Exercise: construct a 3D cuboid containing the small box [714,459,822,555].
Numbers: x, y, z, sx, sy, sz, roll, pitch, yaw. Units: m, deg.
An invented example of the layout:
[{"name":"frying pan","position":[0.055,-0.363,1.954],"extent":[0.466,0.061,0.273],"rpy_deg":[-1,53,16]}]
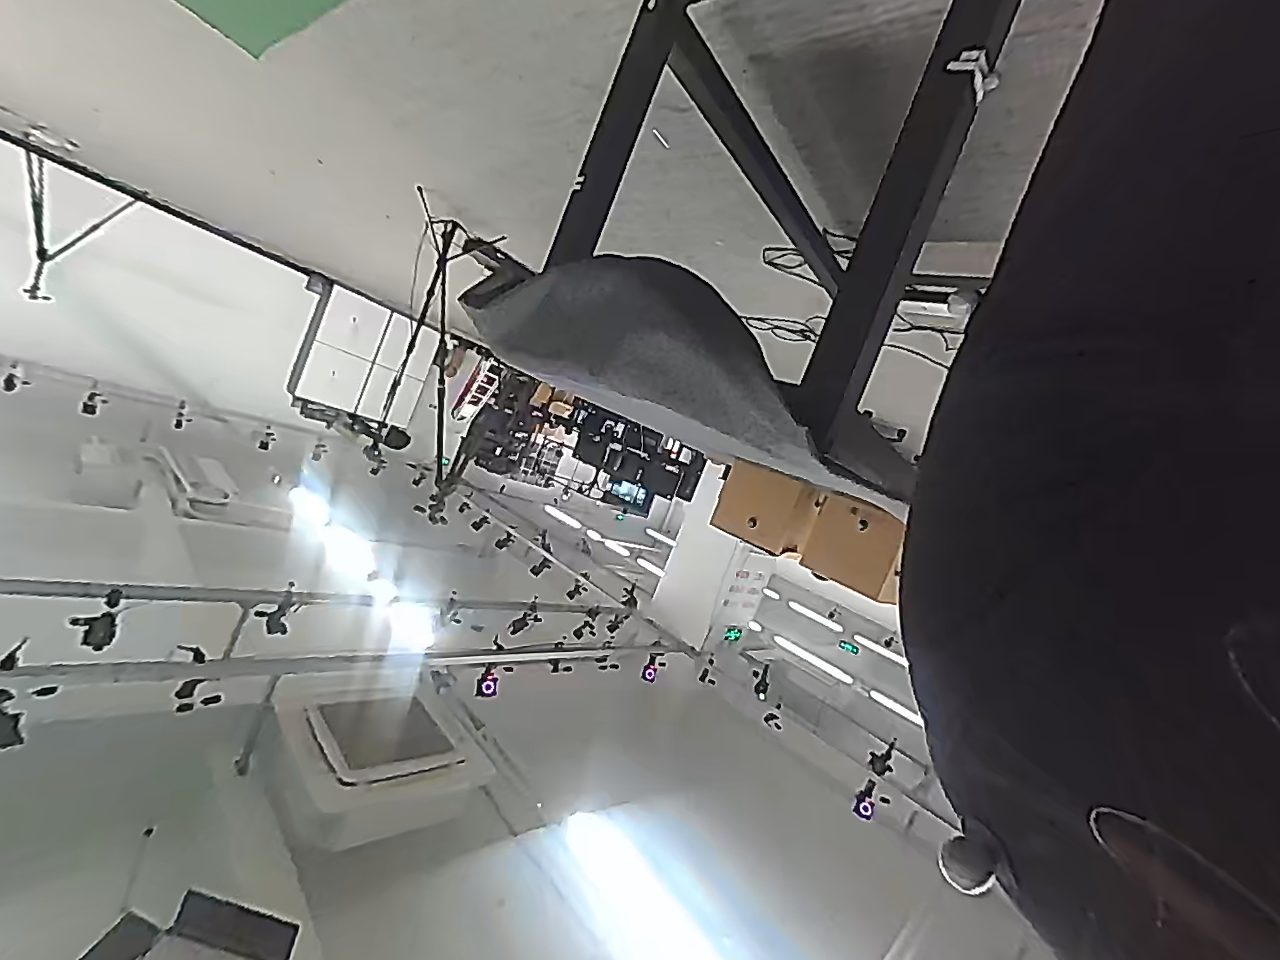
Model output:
[{"name":"small box","position":[0.306,0.062,1.263],"extent":[0.179,0.176,0.168],"rpy_deg":[24,-176,36]}]
